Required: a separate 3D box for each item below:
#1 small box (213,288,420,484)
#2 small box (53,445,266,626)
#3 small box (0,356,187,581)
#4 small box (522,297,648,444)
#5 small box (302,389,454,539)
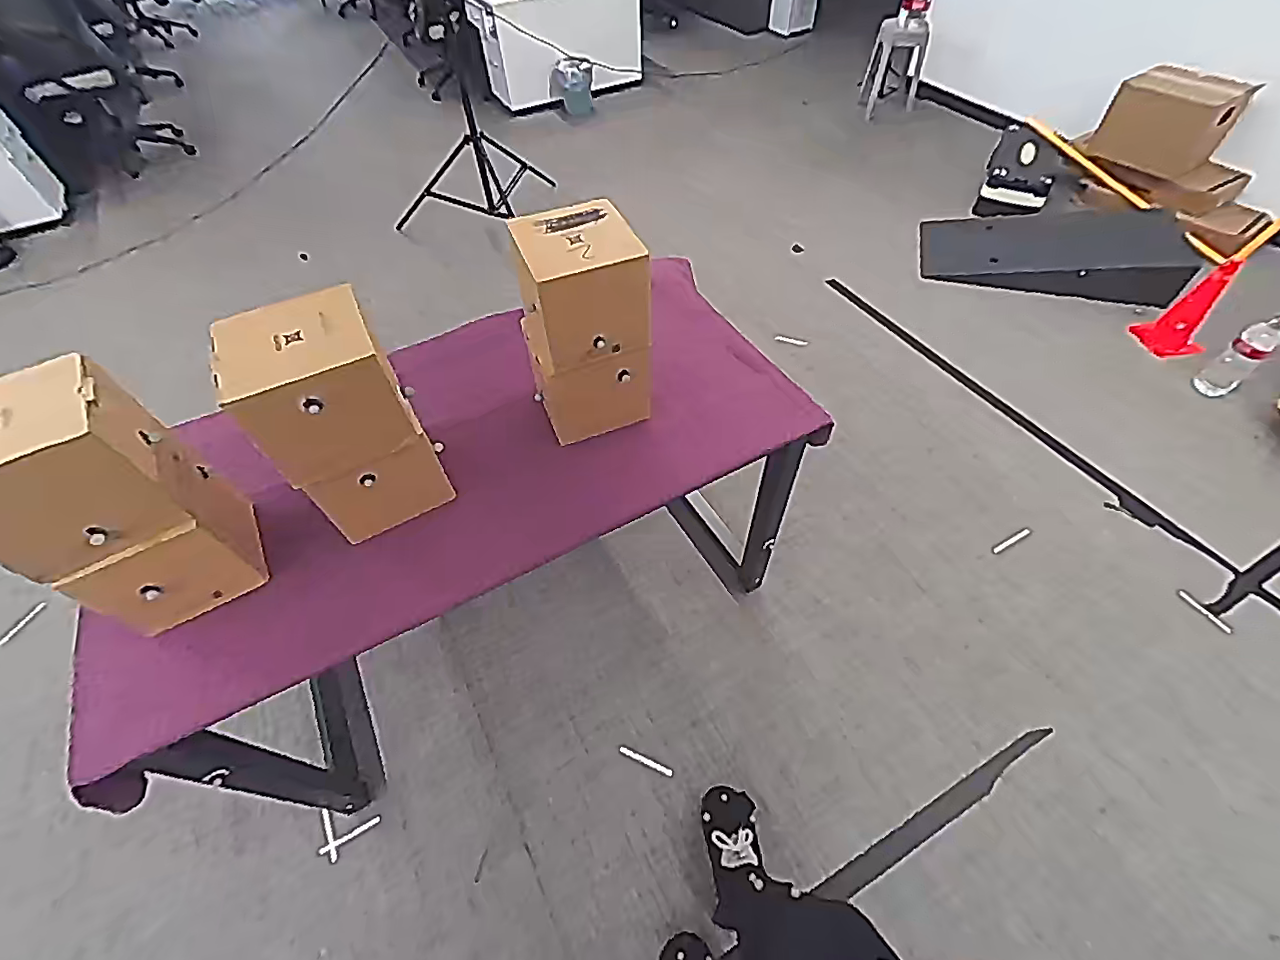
[{"bbox_3d":[-0.427,-0.122,0.729,0.179,0.176,0.168,-24,57,-16],"label":"small box"},{"bbox_3d":[-0.682,0.088,0.785,0.168,0.176,0.179,-28,57,-17],"label":"small box"},{"bbox_3d":[-0.696,-0.012,0.656,0.179,0.176,0.168,-29,57,-19],"label":"small box"},{"bbox_3d":[-0.094,-0.193,0.970,0.179,0.176,0.168,-19,54,-11],"label":"small box"},{"bbox_3d":[-0.427,-0.036,0.866,0.179,0.176,0.168,-26,57,-17],"label":"small box"}]
